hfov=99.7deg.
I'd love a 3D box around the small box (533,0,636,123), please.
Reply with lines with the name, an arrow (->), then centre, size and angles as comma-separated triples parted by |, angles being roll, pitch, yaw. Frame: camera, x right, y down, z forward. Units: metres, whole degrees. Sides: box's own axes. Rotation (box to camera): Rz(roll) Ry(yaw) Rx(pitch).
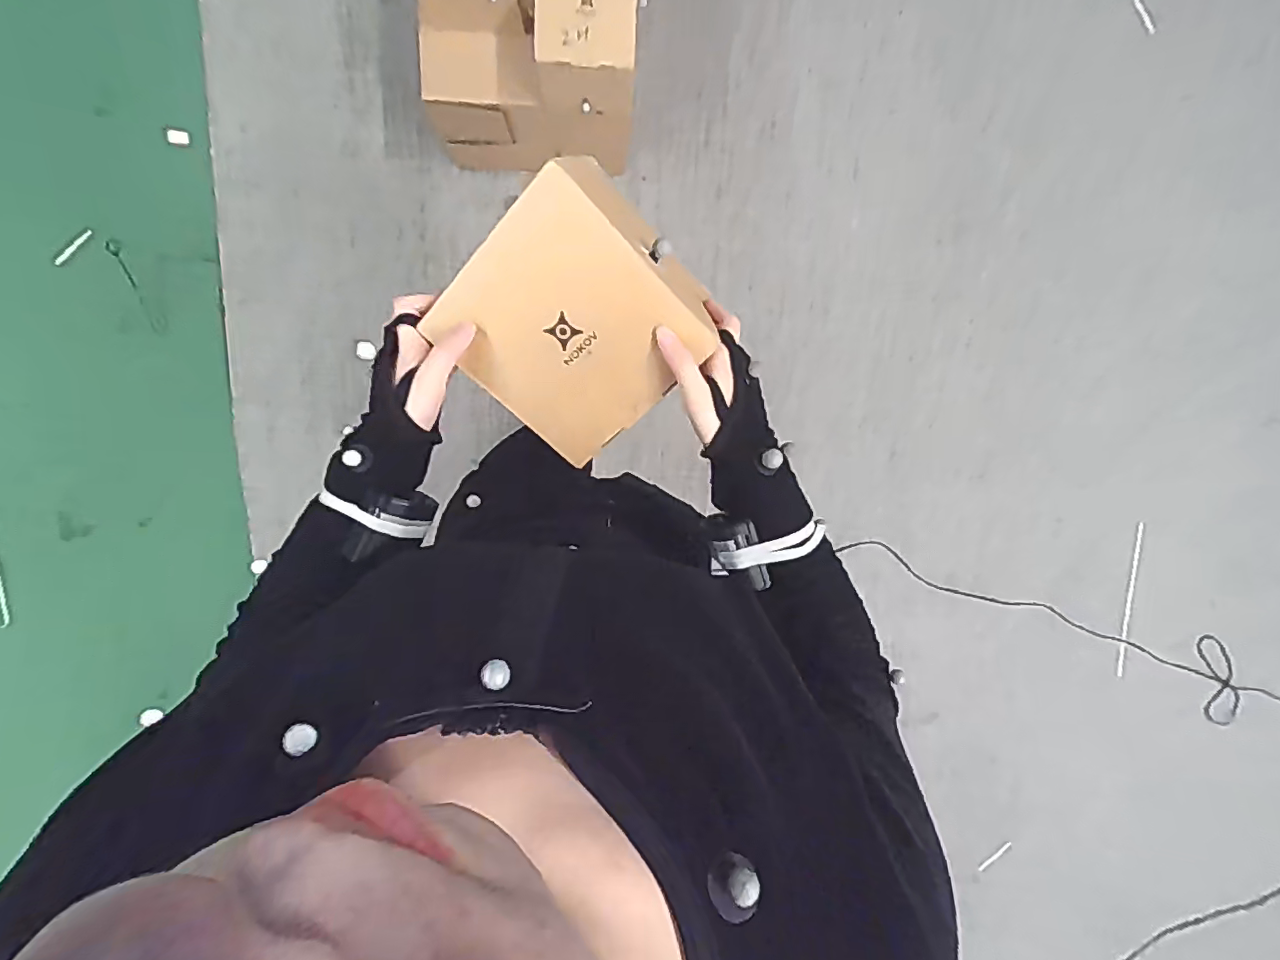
small box -> -0.095, -0.774, 0.956 | 0.168, 0.176, 0.179 | 2, 98, -4
